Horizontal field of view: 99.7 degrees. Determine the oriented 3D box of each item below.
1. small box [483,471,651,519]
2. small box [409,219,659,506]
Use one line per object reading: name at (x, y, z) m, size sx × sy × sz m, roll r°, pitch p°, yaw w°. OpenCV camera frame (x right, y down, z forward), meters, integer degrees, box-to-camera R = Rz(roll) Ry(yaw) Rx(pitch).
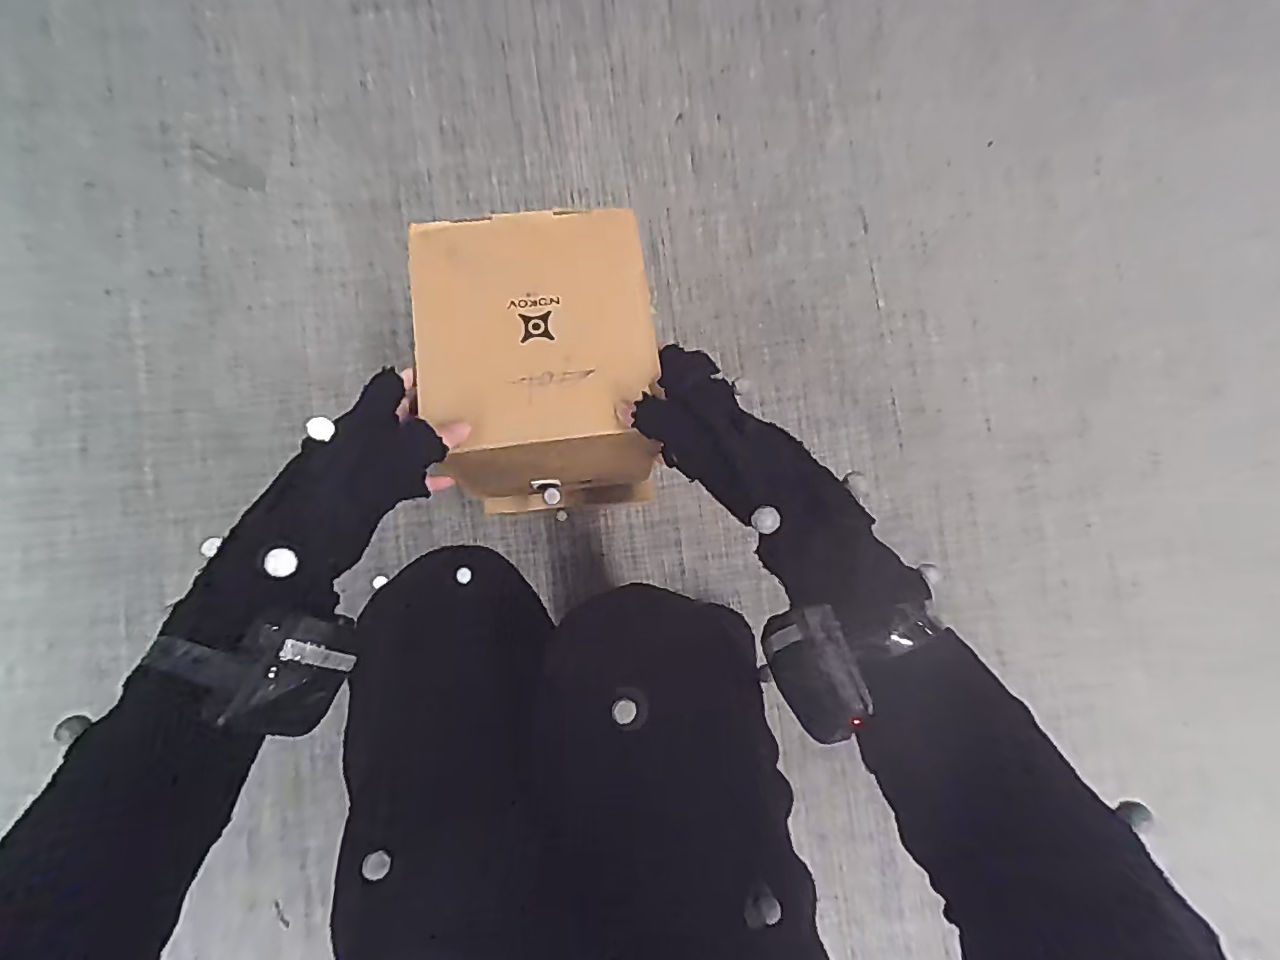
small box at (-0.080, -0.043, 0.643) m, size 0.179 × 0.176 × 0.168 m, roll -6°, pitch 86°, yaw 0°
small box at (-0.081, -0.085, 0.455) m, size 0.168 × 0.176 × 0.179 m, roll -7°, pitch 78°, yaw -4°
